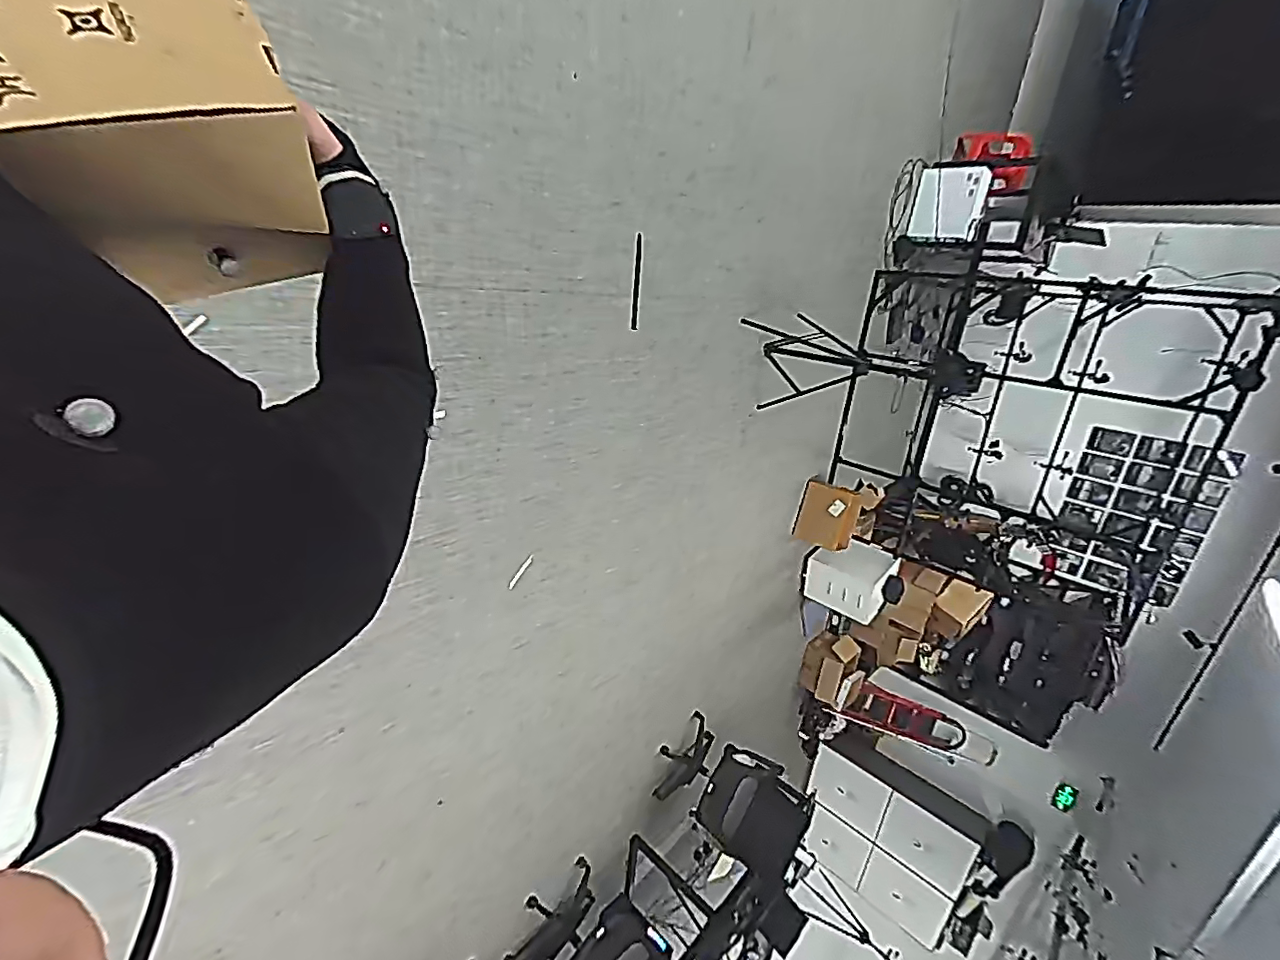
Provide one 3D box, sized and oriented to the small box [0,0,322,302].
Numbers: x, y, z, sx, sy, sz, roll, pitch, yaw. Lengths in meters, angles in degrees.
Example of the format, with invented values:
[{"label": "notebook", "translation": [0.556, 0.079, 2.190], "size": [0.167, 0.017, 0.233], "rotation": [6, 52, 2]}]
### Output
[{"label": "small box", "translation": [-0.386, -0.276, 0.444], "size": [0.179, 0.168, 0.176], "rotation": [-25, 169, -27]}]
